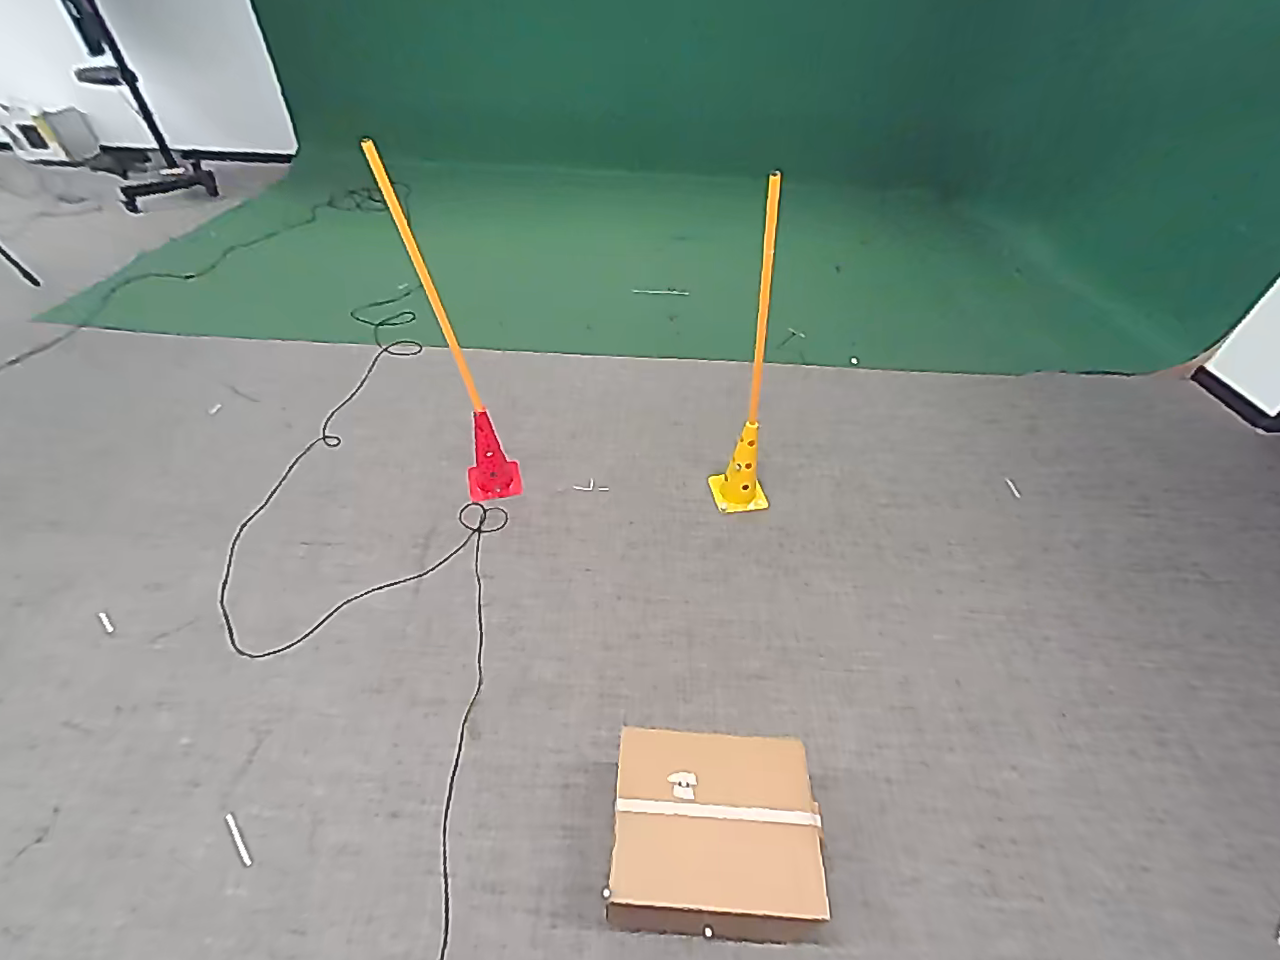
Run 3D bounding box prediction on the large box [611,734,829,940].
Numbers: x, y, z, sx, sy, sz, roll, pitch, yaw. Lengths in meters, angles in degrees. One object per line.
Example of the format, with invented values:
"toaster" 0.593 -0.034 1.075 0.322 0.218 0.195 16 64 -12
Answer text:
"large box" 0.152 0.784 1.186 0.408 0.320 0.320 3 43 2
